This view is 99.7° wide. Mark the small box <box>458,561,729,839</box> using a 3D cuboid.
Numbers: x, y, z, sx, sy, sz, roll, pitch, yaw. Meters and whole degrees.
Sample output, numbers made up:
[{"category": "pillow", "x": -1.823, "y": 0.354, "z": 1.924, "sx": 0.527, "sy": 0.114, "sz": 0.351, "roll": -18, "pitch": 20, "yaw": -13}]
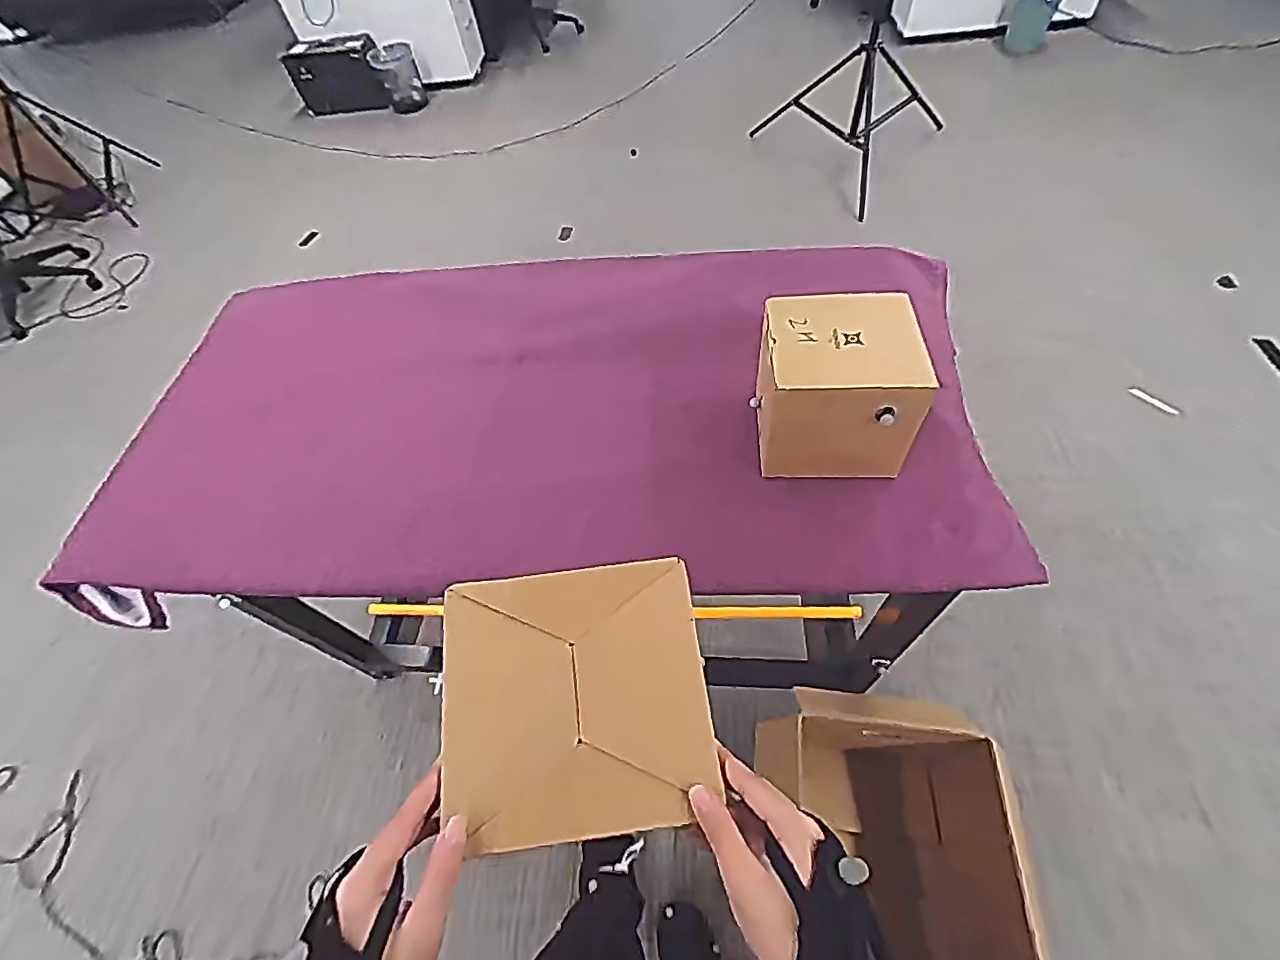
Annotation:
[{"category": "small box", "x": -0.042, "y": 0.173, "z": 0.434, "sx": 0.179, "sy": 0.176, "sz": 0.168, "roll": -6, "pitch": 63, "yaw": -5}]

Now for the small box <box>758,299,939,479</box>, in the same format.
[{"category": "small box", "x": 0.253, "y": -0.113, "z": 0.704, "sx": 0.179, "sy": 0.176, "sz": 0.168, "roll": 0, "pitch": 53, "yaw": 7}]
